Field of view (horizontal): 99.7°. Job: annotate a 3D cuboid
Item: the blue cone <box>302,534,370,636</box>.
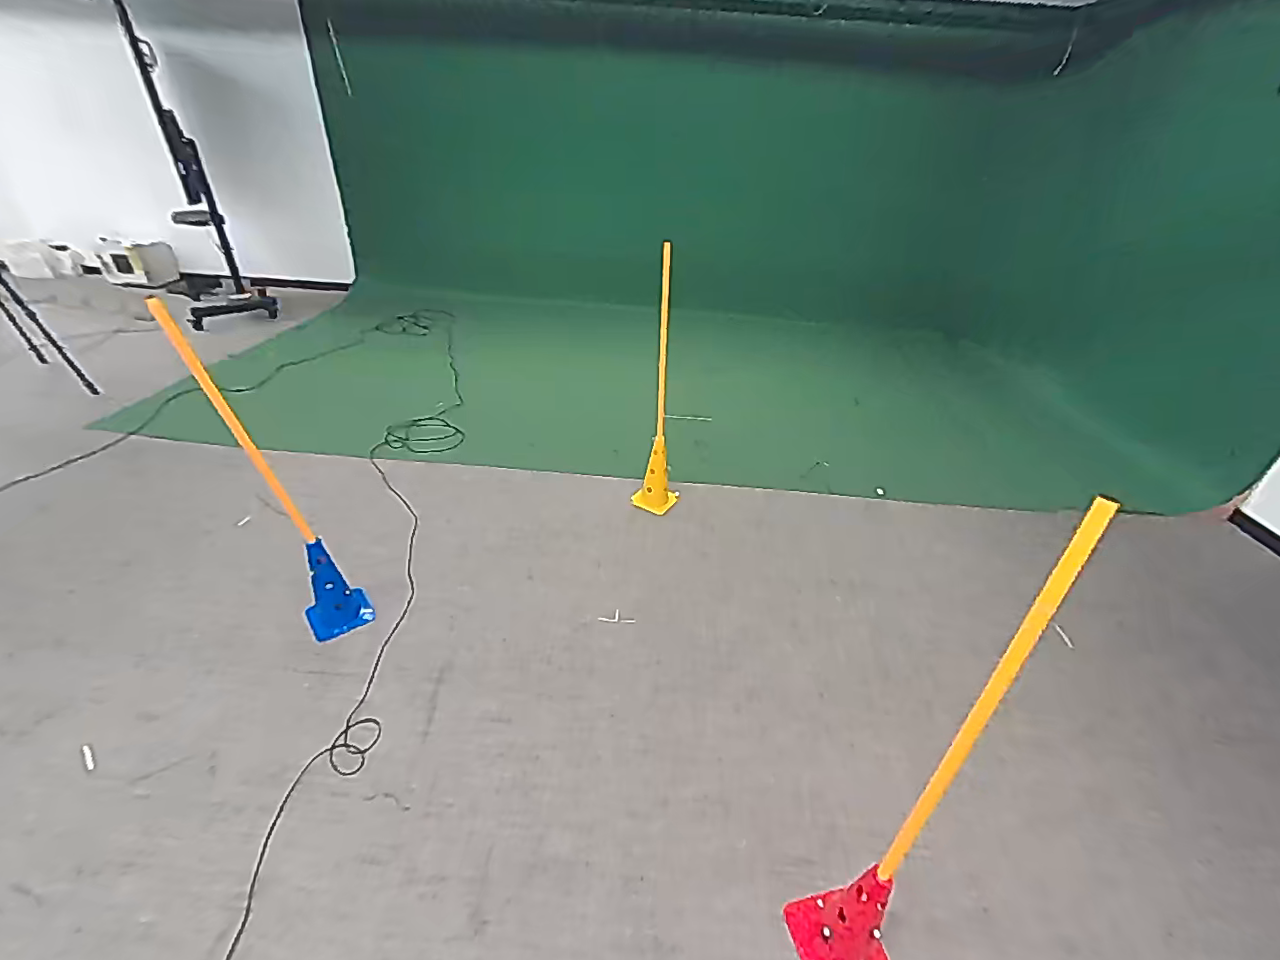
[{"bbox_3d":[-1.097,0.344,1.879,0.193,0.380,0.192,-25,44,-34],"label":"blue cone"}]
